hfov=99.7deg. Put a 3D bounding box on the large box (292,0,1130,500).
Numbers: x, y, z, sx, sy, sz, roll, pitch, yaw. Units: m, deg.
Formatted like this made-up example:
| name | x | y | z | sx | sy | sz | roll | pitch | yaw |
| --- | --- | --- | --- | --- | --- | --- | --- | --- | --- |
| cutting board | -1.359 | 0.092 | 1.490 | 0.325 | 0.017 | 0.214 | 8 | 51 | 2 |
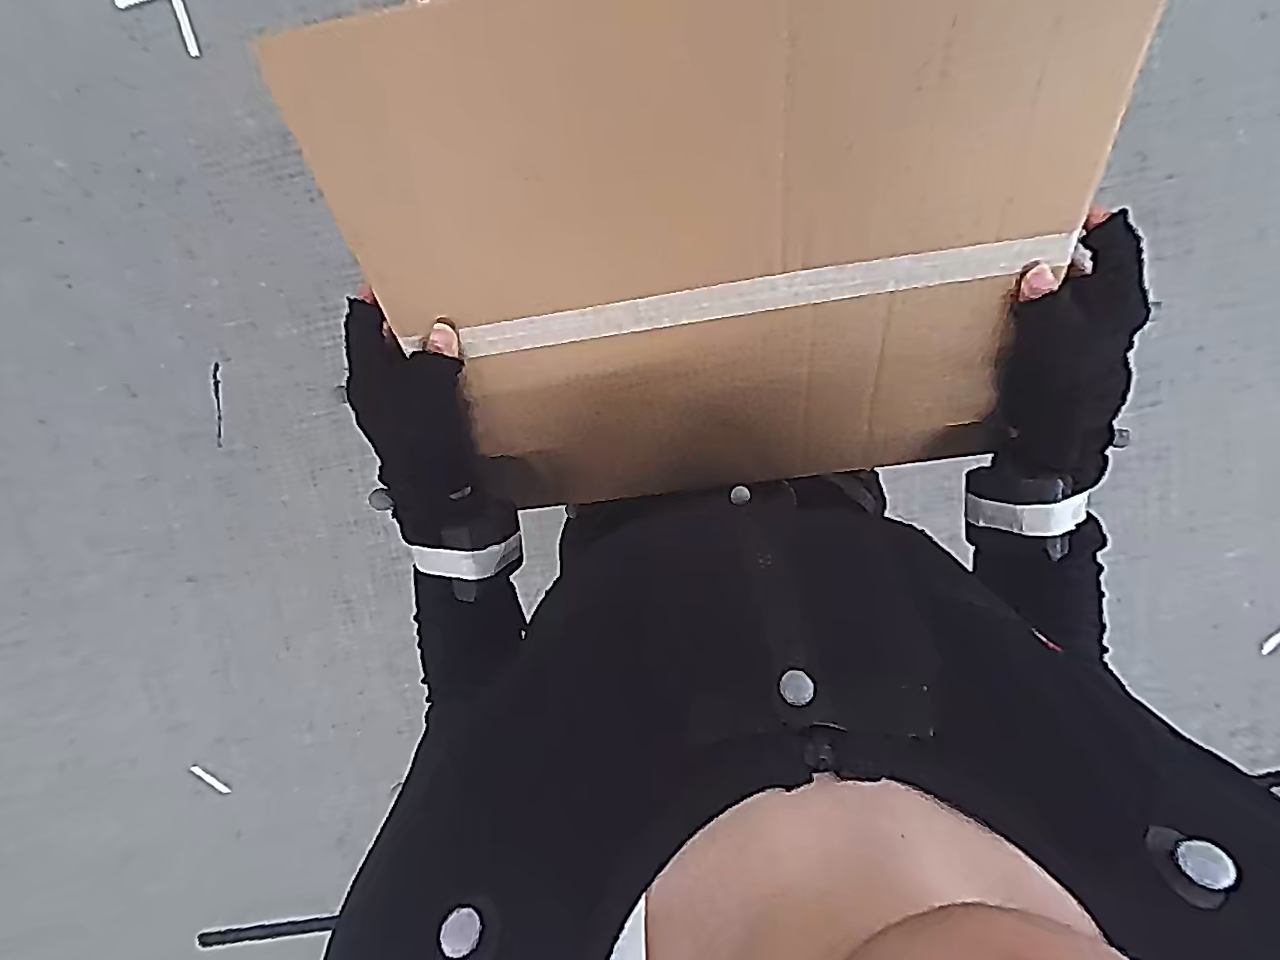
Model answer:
| name | x | y | z | sx | sy | sz | roll | pitch | yaw |
| --- | --- | --- | --- | --- | --- | --- | --- | --- | --- |
| large box | 0.043 | -0.219 | 0.450 | 0.408 | 0.320 | 0.320 | -7 | 134 | 5 |
